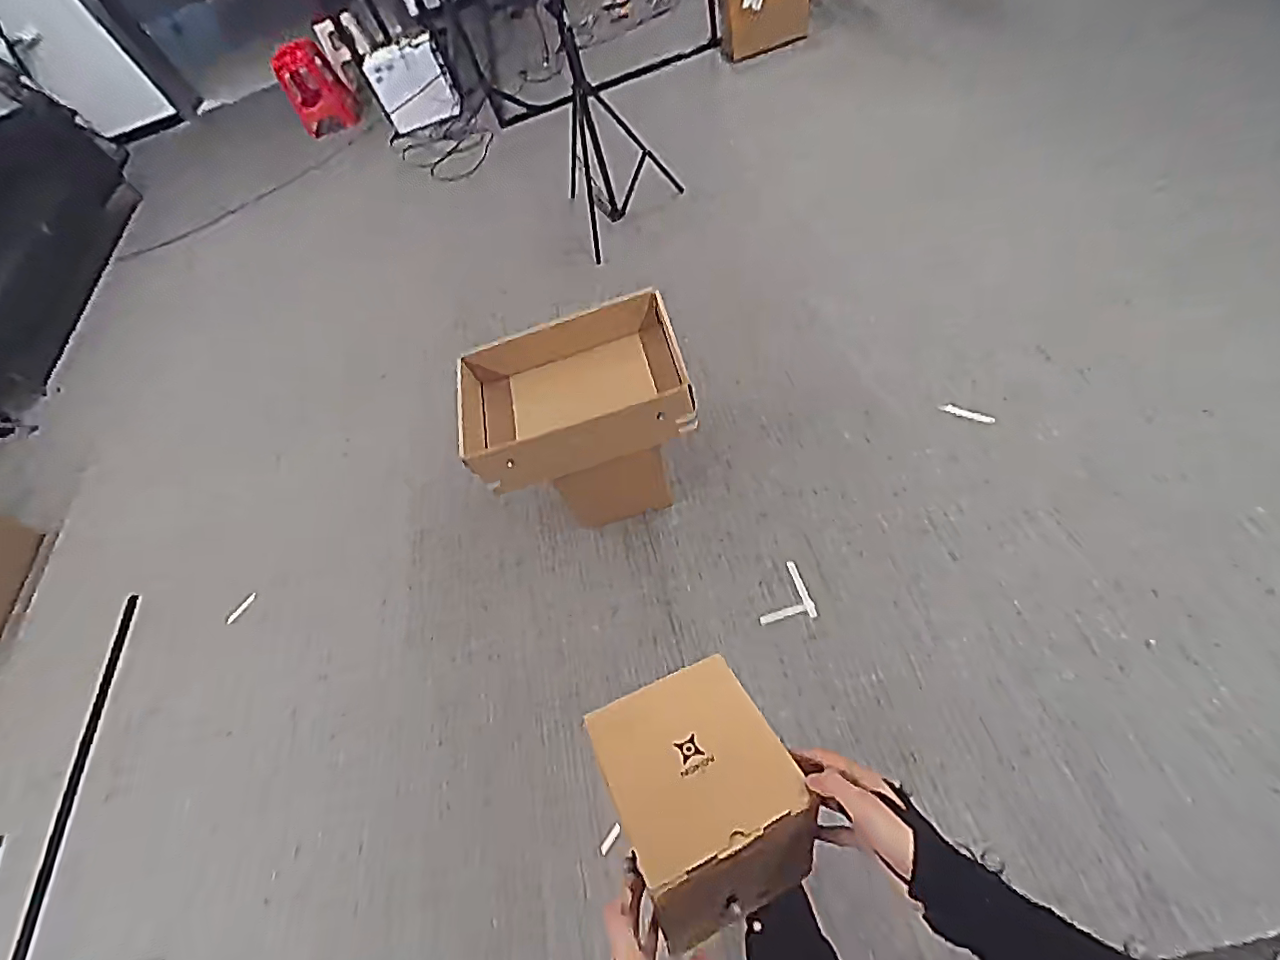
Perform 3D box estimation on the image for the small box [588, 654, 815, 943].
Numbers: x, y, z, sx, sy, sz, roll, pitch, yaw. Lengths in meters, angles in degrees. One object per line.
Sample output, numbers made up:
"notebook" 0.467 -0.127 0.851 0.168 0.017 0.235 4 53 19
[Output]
"small box" 0.058 0.328 0.571 0.168 0.176 0.179 -19 37 -16
